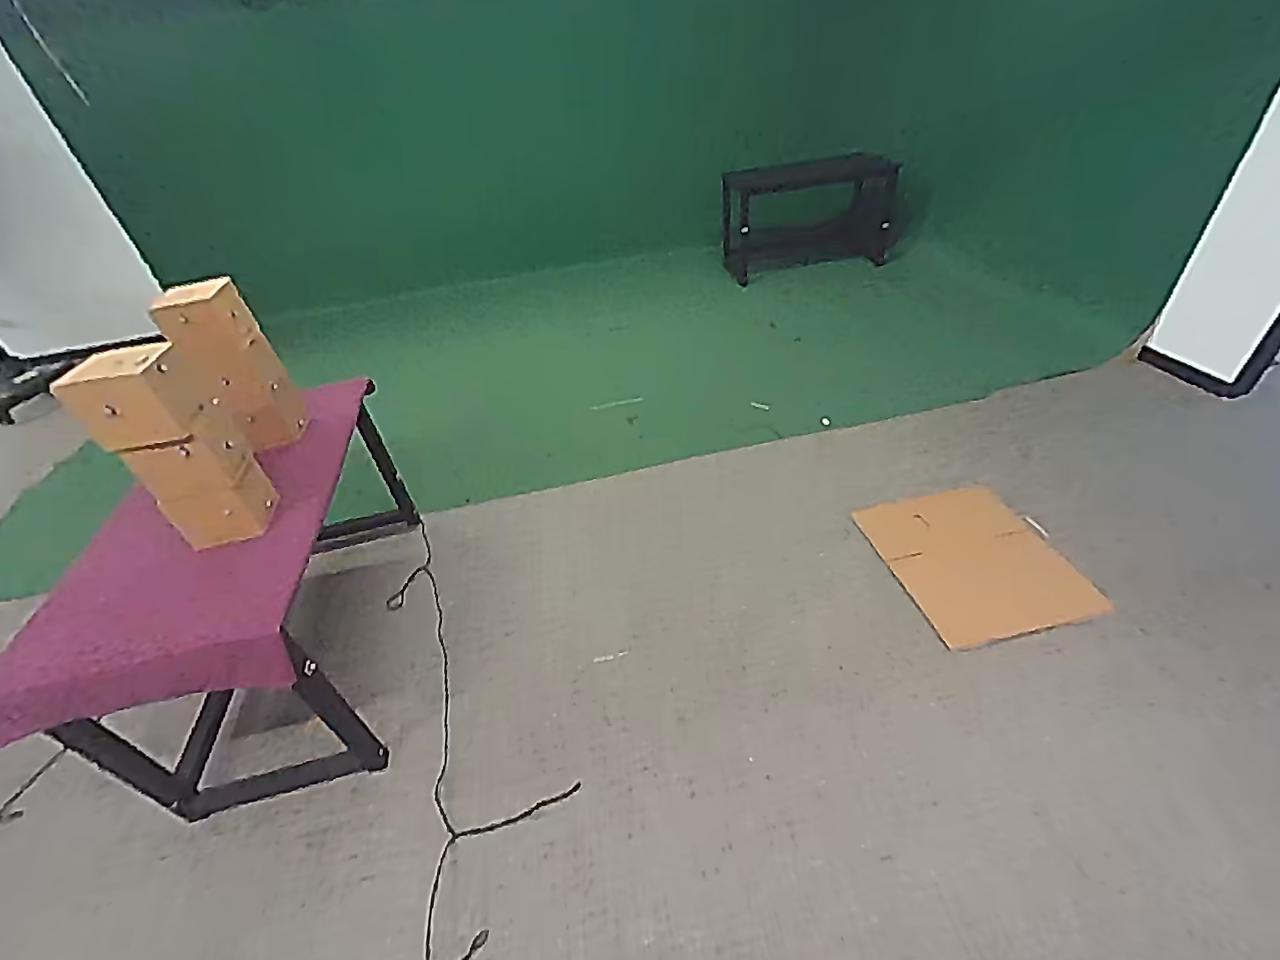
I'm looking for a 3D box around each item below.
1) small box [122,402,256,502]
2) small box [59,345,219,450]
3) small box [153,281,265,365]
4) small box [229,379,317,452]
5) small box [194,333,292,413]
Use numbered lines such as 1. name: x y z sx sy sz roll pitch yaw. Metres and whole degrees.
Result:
1. small box: -1.111 -0.070 1.353 0.179 0.176 0.168 -14 39 -8
2. small box: -1.128 -0.186 1.237 0.179 0.176 0.168 -12 40 -5
3. small box: -1.265 -0.465 1.605 0.179 0.176 0.168 -15 41 -5
4. small box: -1.227 -0.211 1.806 0.179 0.176 0.168 -12 41 -4
5. small box: -1.242 -0.335 1.701 0.179 0.176 0.168 -14 41 -4
